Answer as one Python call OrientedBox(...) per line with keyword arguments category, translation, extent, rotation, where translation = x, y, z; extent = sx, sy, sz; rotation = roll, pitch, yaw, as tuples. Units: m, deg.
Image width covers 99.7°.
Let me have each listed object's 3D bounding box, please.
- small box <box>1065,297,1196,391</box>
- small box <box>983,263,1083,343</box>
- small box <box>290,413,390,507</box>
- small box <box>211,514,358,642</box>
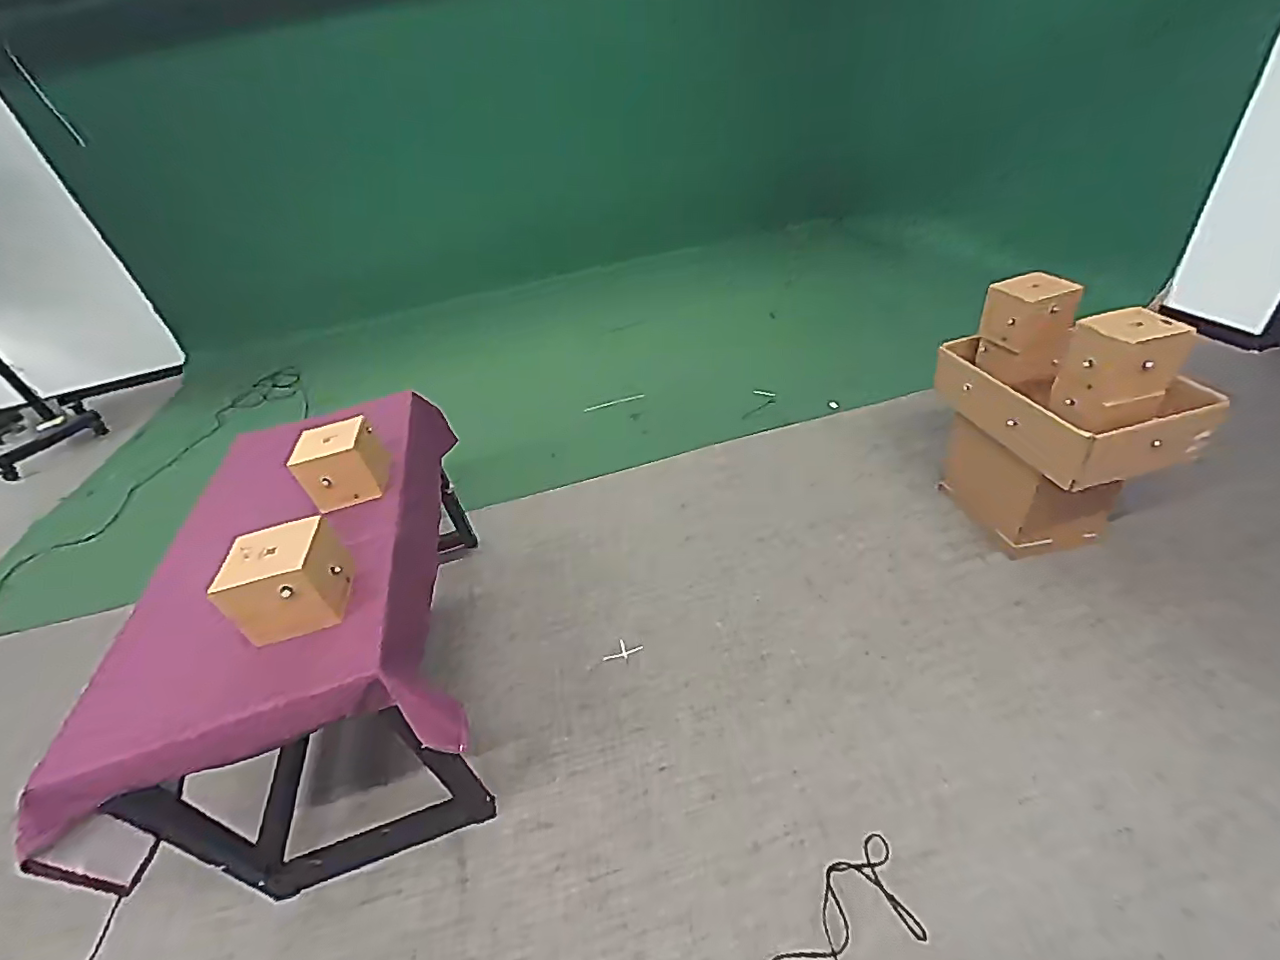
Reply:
OrientedBox(category="small box", translation=(1.256, -0.351, 1.406), extent=(0.179, 0.176, 0.168), rotation=(-14, 39, -1))
OrientedBox(category="small box", translation=(1.193, -0.542, 1.662), extent=(0.179, 0.176, 0.168), rotation=(-17, 39, -6))
OrientedBox(category="small box", translation=(-0.793, -0.047, 1.450), extent=(0.168, 0.176, 0.179), rotation=(-17, 38, -5))
OrientedBox(category="small box", translation=(-0.713, 0.203, 1.112), extent=(0.179, 0.176, 0.168), rotation=(-16, 38, -4))
